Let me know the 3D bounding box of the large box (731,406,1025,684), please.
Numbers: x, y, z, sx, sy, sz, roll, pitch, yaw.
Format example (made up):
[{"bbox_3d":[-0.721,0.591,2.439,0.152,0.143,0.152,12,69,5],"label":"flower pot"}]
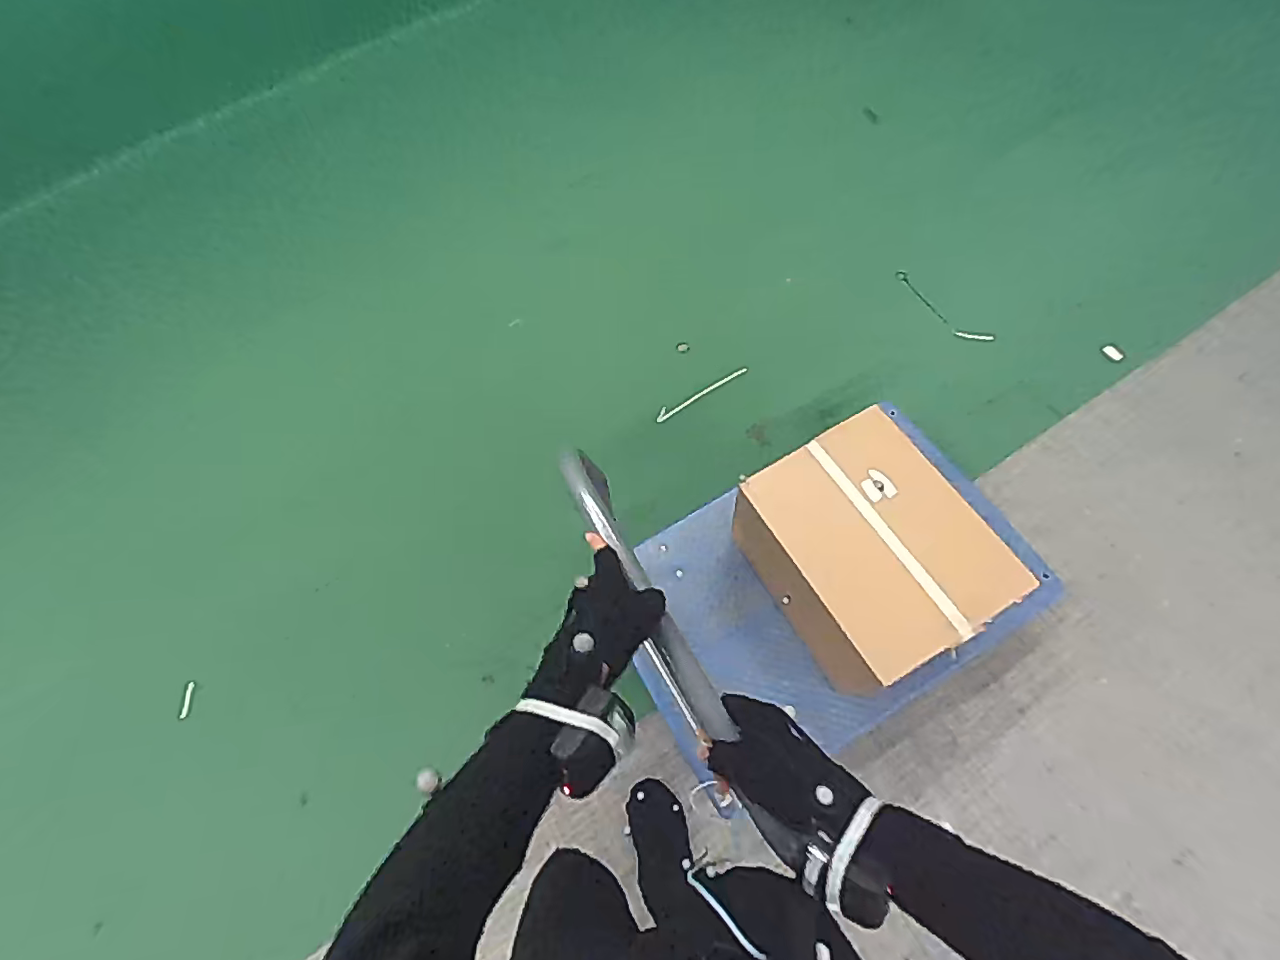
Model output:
[{"bbox_3d":[0.421,0.141,1.077,0.320,0.320,0.408,-29,66,-6],"label":"large box"}]
